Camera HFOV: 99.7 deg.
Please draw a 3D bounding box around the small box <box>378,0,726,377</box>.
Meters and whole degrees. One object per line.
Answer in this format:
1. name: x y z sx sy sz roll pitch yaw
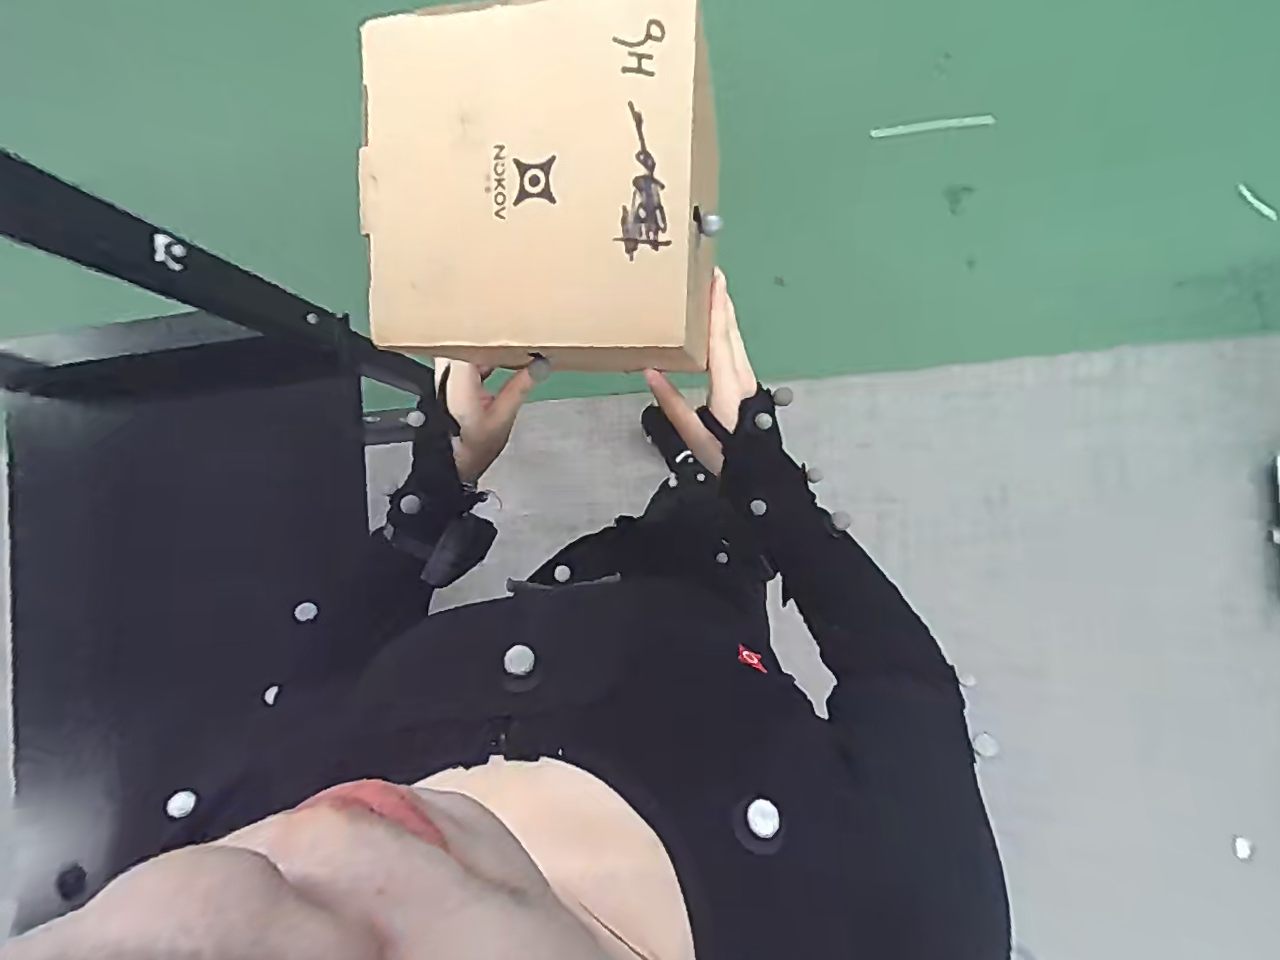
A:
1. small box: -0.041 -0.157 0.355 0.179 0.176 0.168 4 98 11
